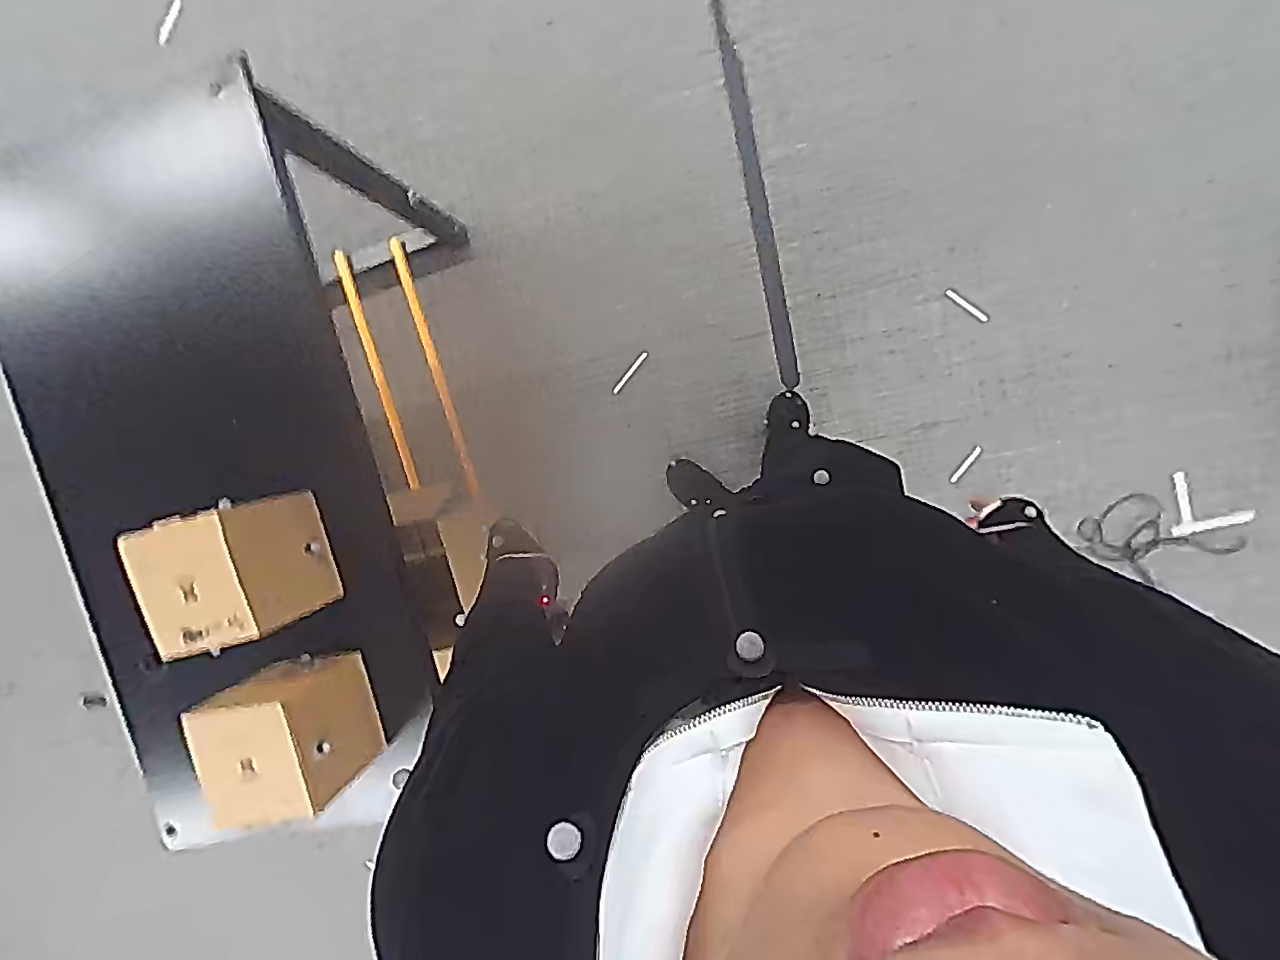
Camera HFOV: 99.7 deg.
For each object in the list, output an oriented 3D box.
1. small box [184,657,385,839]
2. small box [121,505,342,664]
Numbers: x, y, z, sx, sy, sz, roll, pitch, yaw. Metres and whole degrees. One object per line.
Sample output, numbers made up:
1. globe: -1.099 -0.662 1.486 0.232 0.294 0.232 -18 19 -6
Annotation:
1. small box: -0.519 0.395 0.817 0.168 0.176 0.179 -13 95 9
2. small box: -0.581 0.140 0.792 0.168 0.176 0.179 -15 94 10
